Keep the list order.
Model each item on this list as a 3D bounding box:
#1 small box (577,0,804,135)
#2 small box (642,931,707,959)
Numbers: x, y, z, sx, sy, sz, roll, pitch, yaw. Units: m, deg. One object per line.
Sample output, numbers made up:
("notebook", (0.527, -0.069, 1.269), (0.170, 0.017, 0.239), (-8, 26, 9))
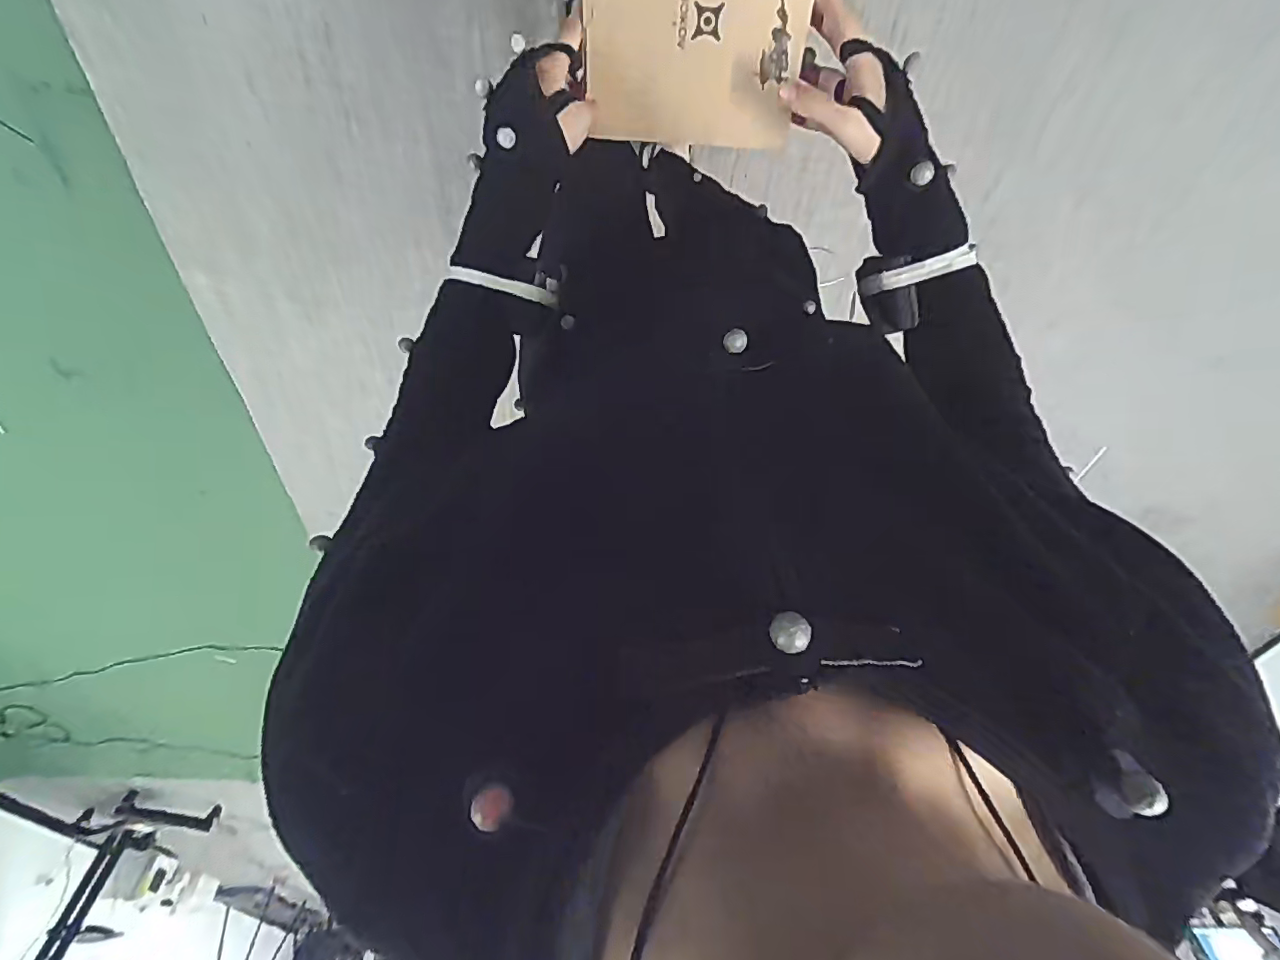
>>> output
("small box", (0.041, -0.418, 0.475), (0.179, 0.176, 0.168), (3, 131, -1))
("small box", (0.113, 1.638, 1.820), (0.179, 0.176, 0.168), (18, 131, -17))
